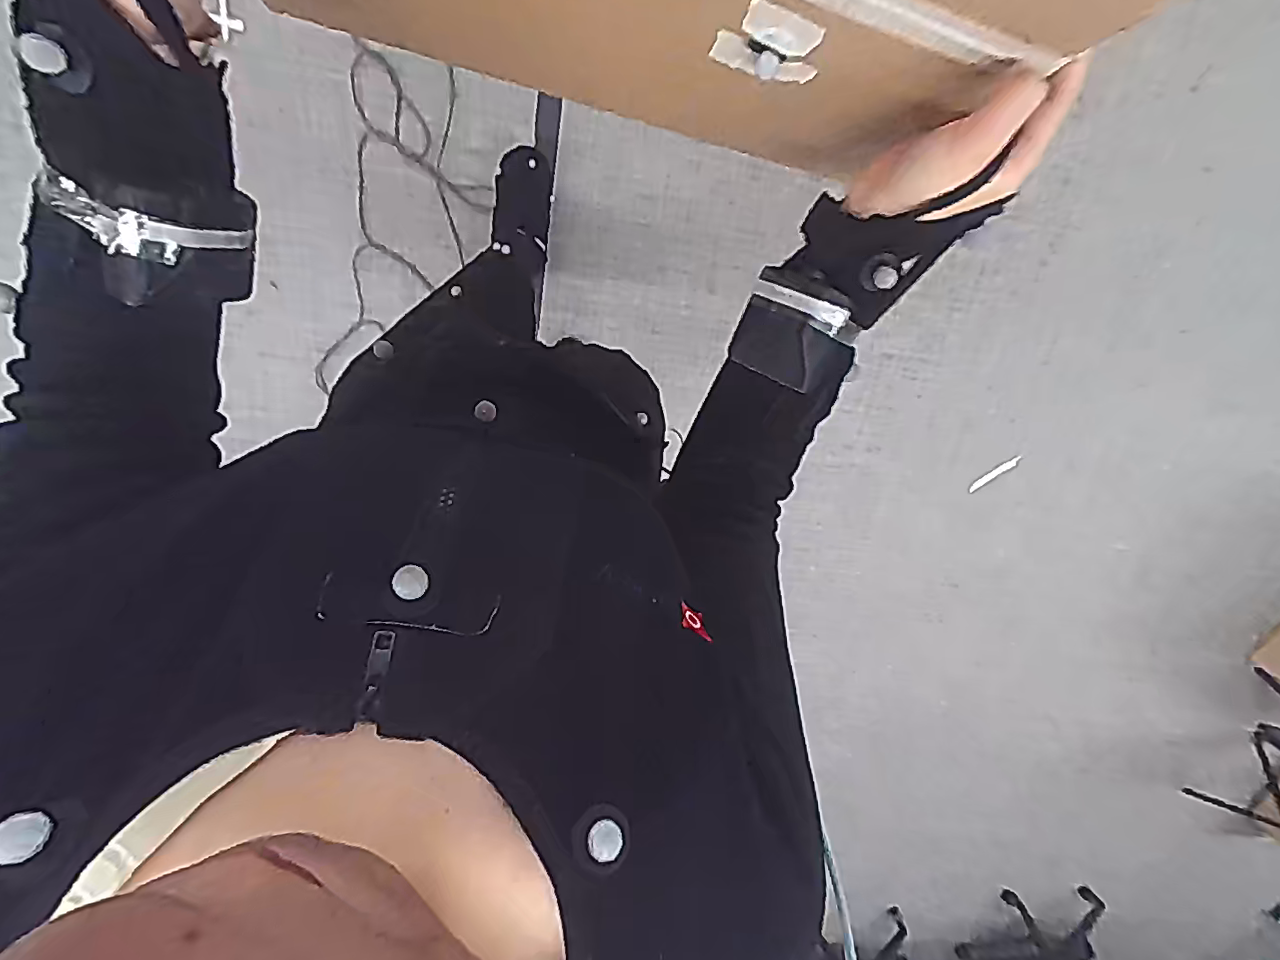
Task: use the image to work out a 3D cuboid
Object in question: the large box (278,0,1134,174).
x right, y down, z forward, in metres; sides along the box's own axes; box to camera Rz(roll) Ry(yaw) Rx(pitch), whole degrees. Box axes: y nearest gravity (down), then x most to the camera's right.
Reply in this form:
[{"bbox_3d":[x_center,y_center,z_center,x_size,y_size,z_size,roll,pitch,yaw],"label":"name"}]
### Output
[{"bbox_3d":[0.033,-0.388,0.214,0.408,0.320,0.320,6,97,-16],"label":"large box"}]
